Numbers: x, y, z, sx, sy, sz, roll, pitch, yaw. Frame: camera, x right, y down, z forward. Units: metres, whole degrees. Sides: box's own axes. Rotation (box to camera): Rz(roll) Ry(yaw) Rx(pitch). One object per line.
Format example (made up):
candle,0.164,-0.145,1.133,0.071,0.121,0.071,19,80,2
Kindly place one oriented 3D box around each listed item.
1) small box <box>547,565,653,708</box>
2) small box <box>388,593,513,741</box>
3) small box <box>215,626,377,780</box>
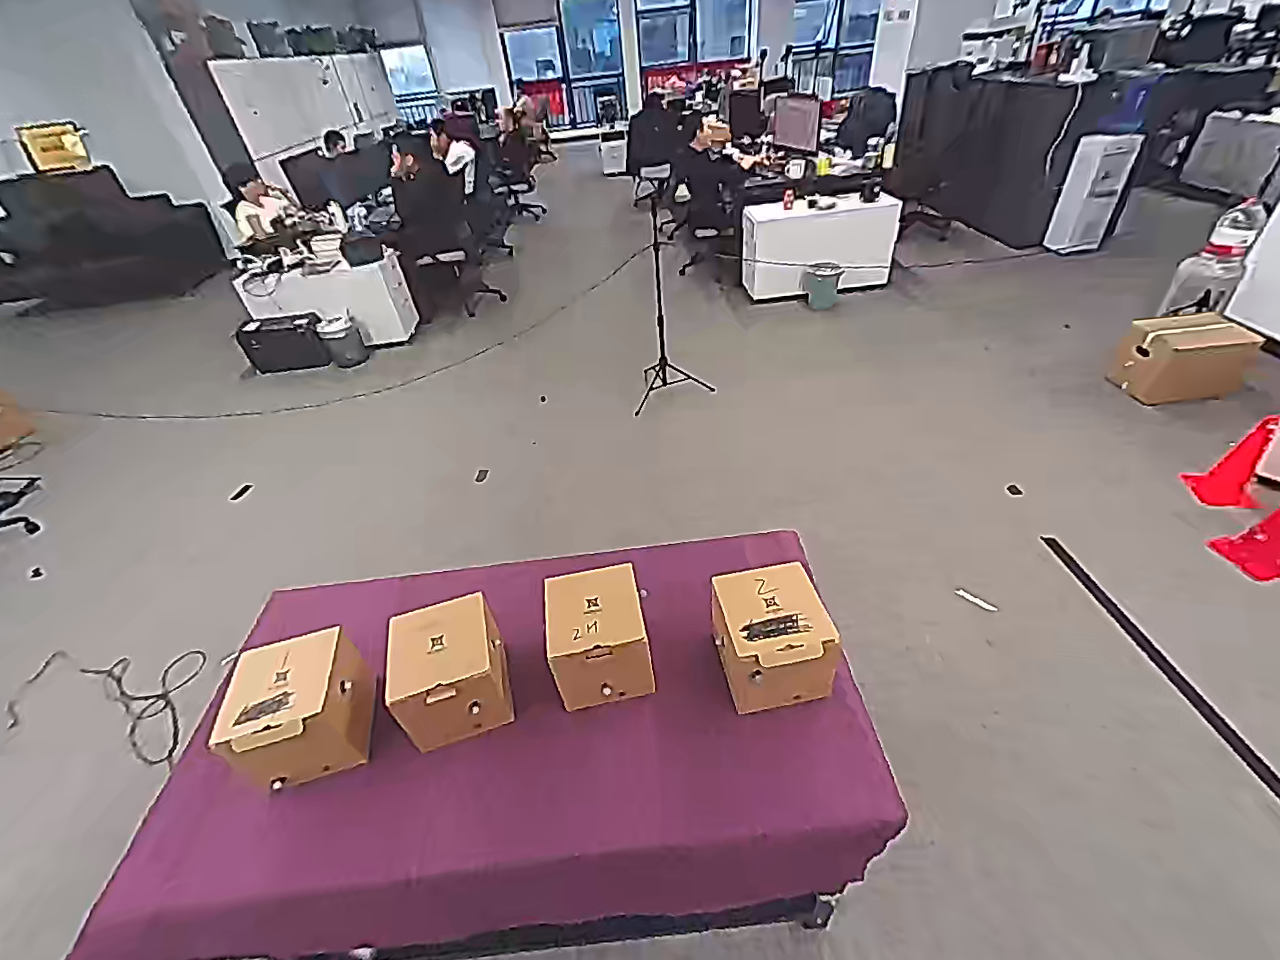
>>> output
small box,-0.074,0.286,0.995,0.168,0.176,0.179,-10,39,-3
small box,-0.333,0.340,0.969,0.168,0.176,0.179,-14,39,-10
small box,-0.577,0.391,0.938,0.168,0.176,0.179,-14,39,-9
